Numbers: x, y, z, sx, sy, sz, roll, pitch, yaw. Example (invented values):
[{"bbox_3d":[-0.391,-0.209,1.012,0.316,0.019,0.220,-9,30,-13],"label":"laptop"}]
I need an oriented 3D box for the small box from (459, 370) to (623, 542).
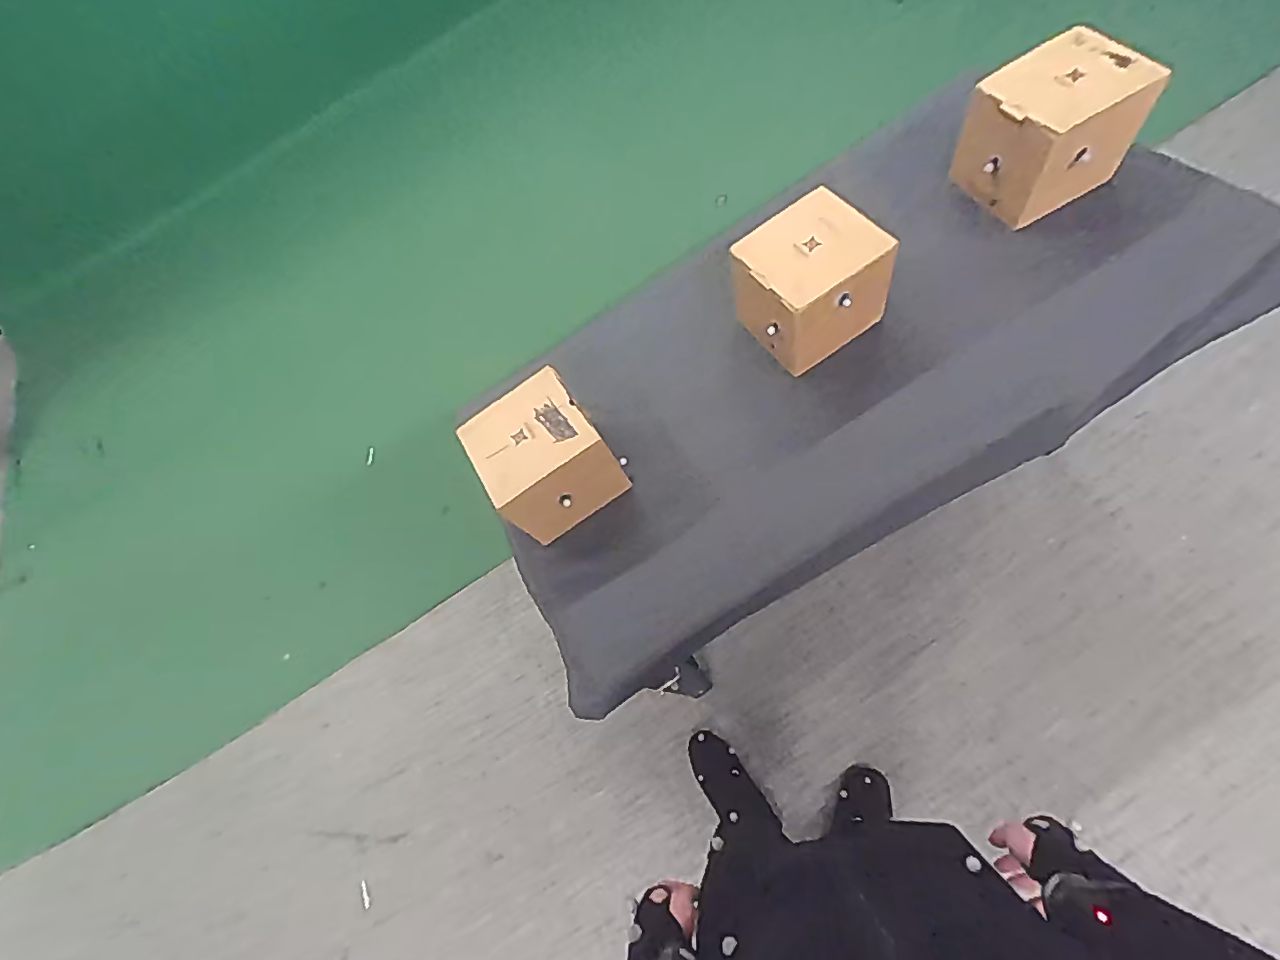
[{"bbox_3d":[-0.142,-0.031,0.848,0.179,0.176,0.168,-35,62,0],"label":"small box"}]

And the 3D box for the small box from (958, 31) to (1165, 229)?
[{"bbox_3d":[0.633,-0.537,0.848,0.179,0.176,0.168,-29,63,3],"label":"small box"}]

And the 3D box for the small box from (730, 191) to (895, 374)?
[{"bbox_3d":[0.265,-0.302,0.855,0.179,0.176,0.168,-33,63,-2],"label":"small box"}]
